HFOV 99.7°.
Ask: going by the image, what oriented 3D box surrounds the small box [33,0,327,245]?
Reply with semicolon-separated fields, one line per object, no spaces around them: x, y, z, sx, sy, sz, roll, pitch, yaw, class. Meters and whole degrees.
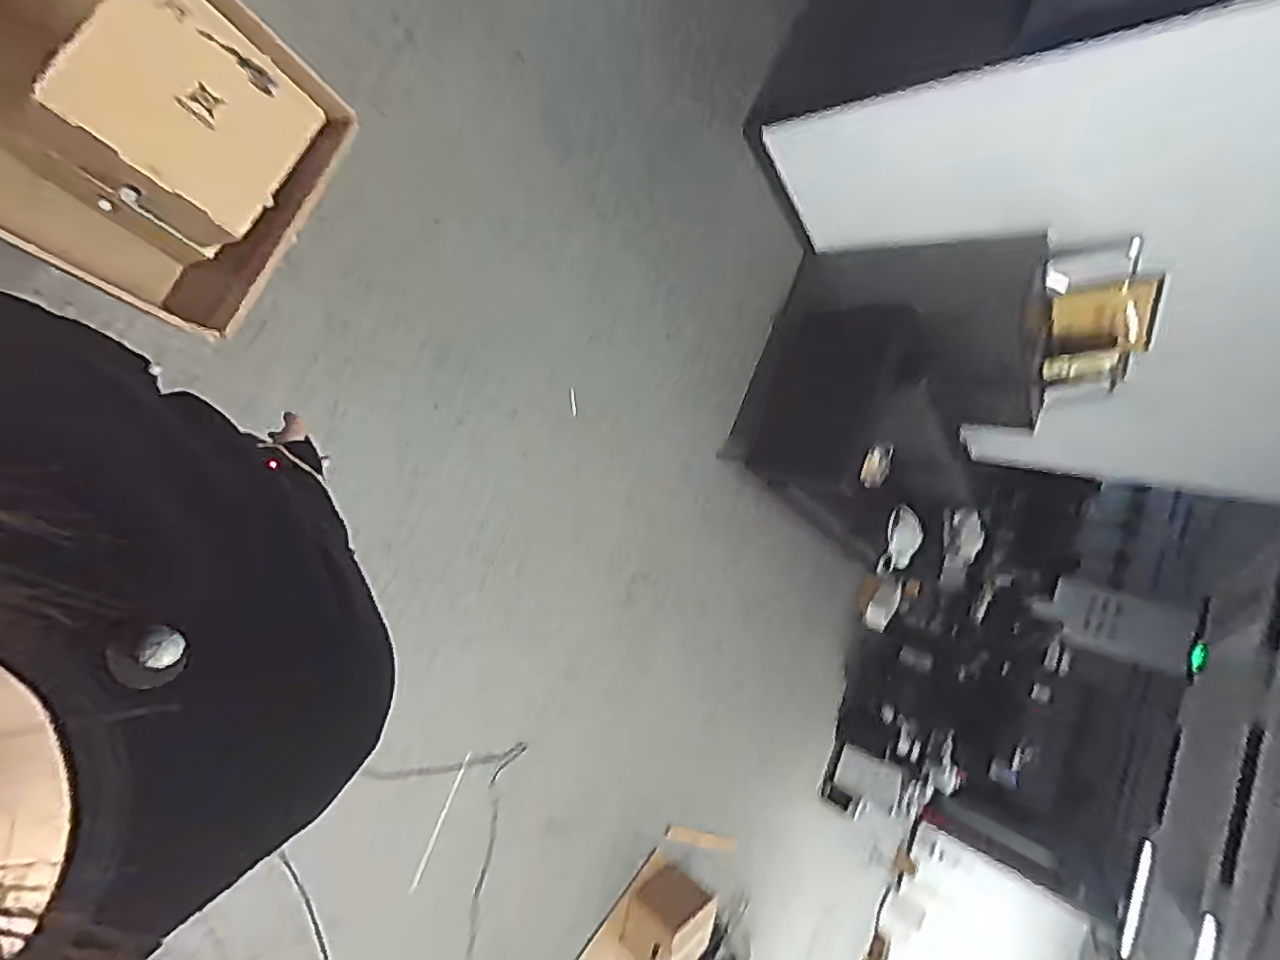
-0.483;-0.377;0.578;0.168;0.176;0.179;38;73;-47;small box
